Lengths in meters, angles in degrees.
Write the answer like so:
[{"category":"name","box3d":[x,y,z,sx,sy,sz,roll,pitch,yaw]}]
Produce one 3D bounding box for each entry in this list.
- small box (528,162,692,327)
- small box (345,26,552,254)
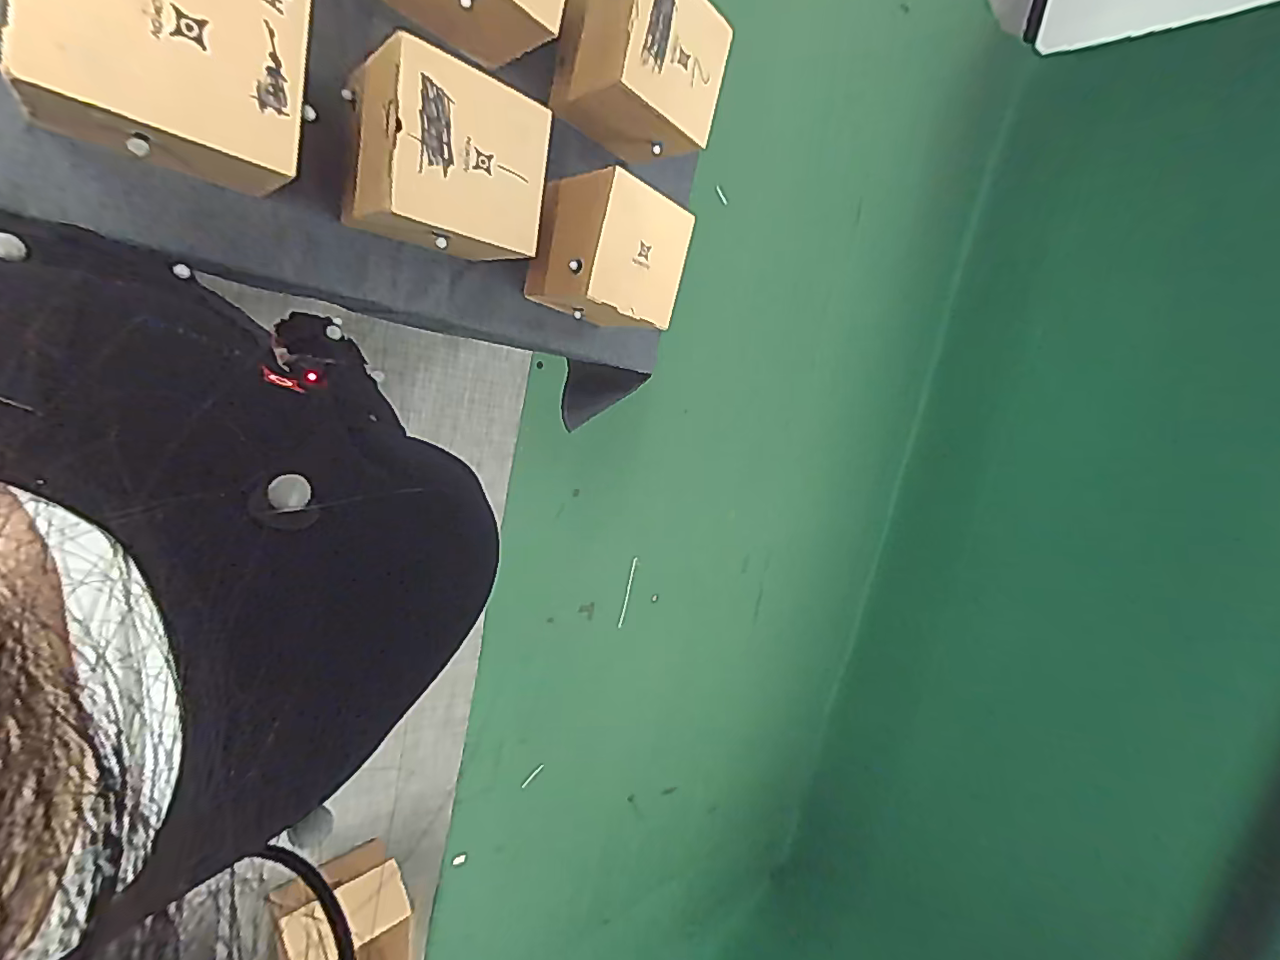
[{"category":"small box","box3d":[-0.051,-0.347,0.826,0.168,0.176,0.179,6,100,-45]},{"category":"small box","box3d":[-0.231,-0.372,0.638,0.179,0.176,0.168,-2,106,-45]}]
